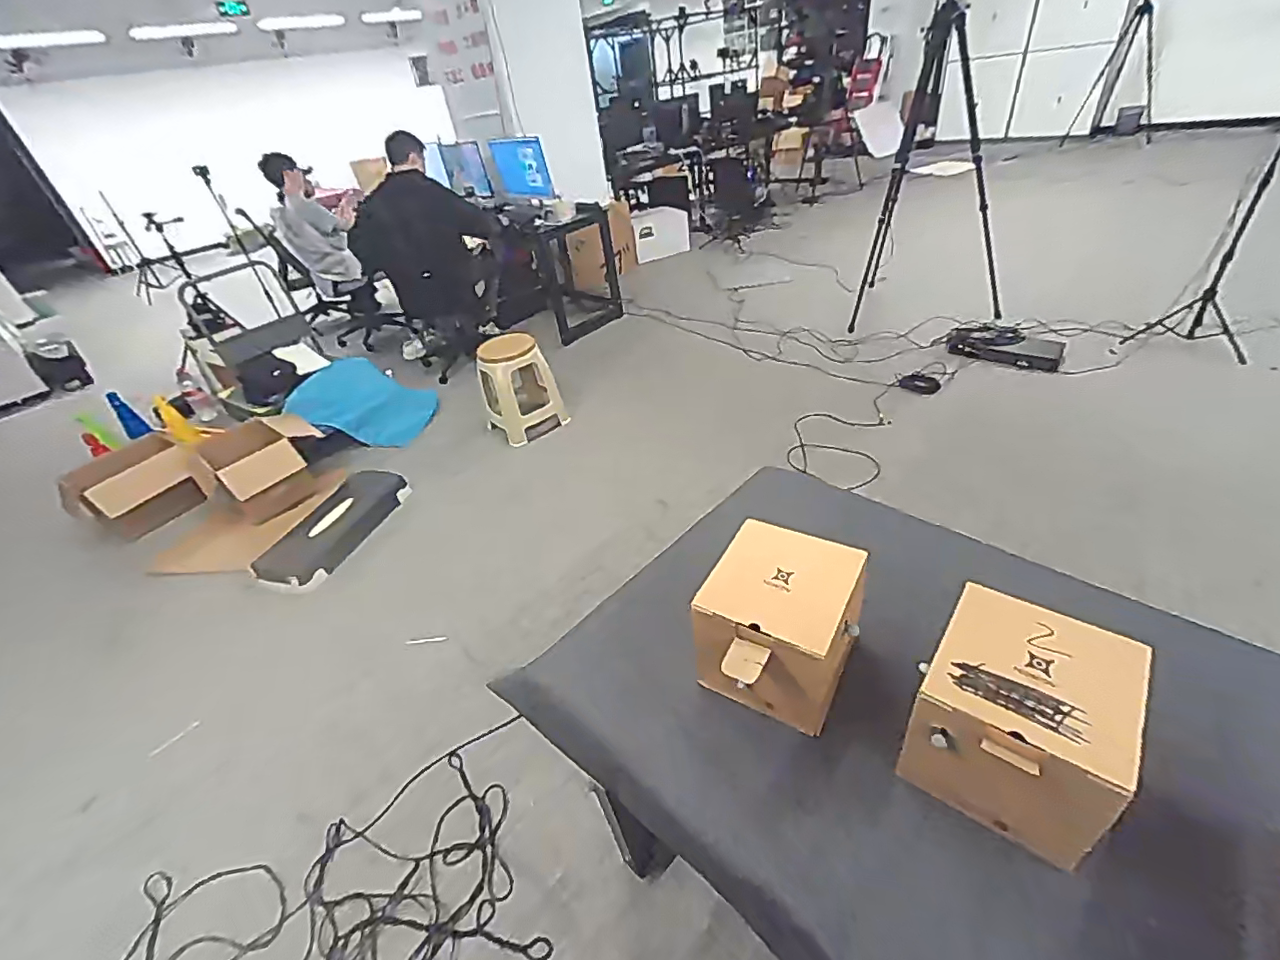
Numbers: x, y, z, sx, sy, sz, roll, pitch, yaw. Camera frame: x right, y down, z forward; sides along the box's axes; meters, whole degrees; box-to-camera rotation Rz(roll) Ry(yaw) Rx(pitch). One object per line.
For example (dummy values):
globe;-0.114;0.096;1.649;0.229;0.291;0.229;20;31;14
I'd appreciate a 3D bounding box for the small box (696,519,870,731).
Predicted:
small box;0.187;0.186;0.714;0.168;0.176;0.179;16;43;30
